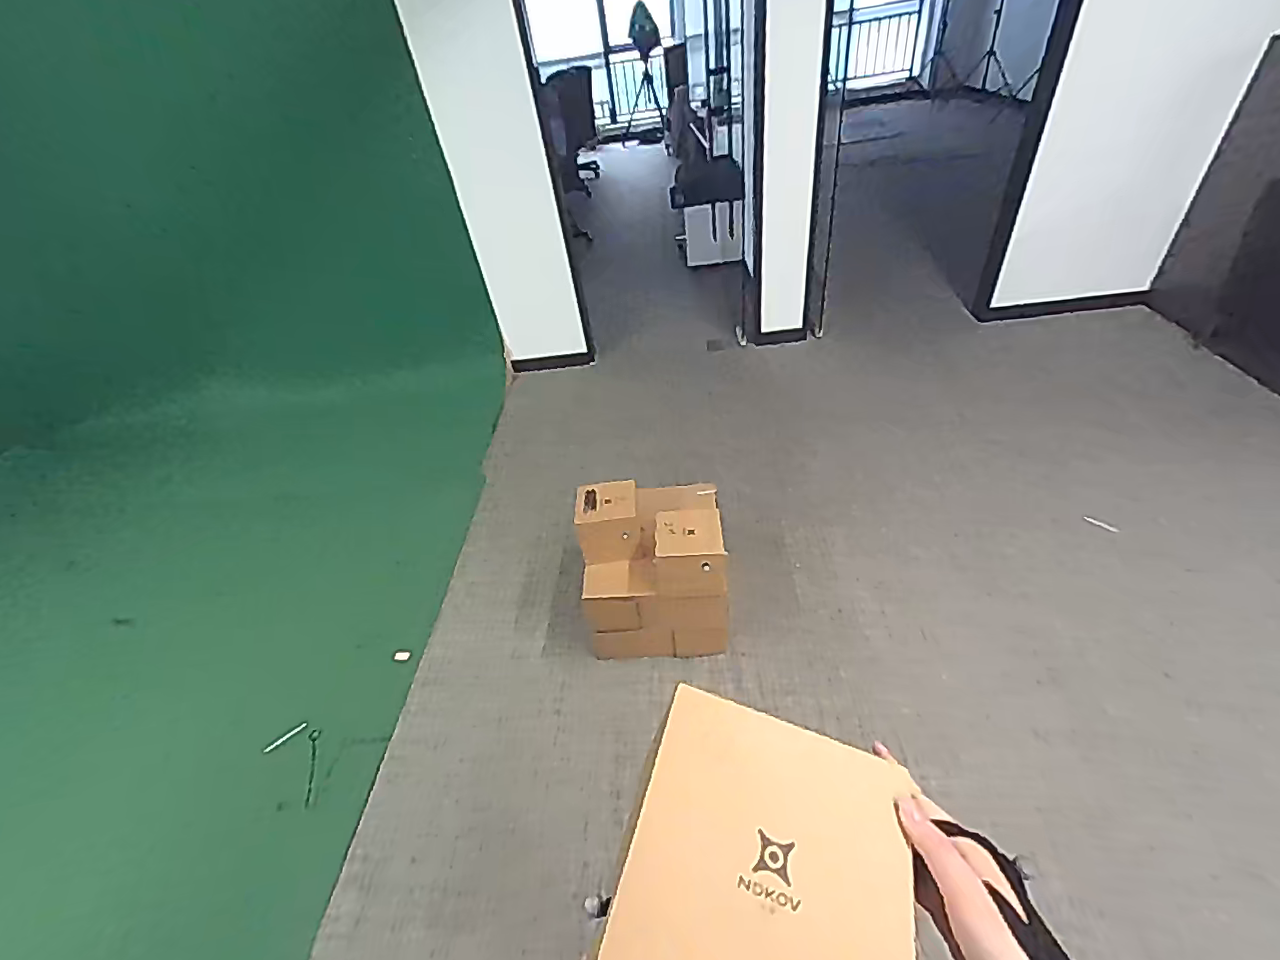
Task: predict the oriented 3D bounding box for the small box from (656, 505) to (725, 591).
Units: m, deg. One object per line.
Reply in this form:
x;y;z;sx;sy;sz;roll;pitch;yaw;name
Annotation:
0.137;0.187;1.465;0.179;0.176;0.168;-3;40;6;small box
